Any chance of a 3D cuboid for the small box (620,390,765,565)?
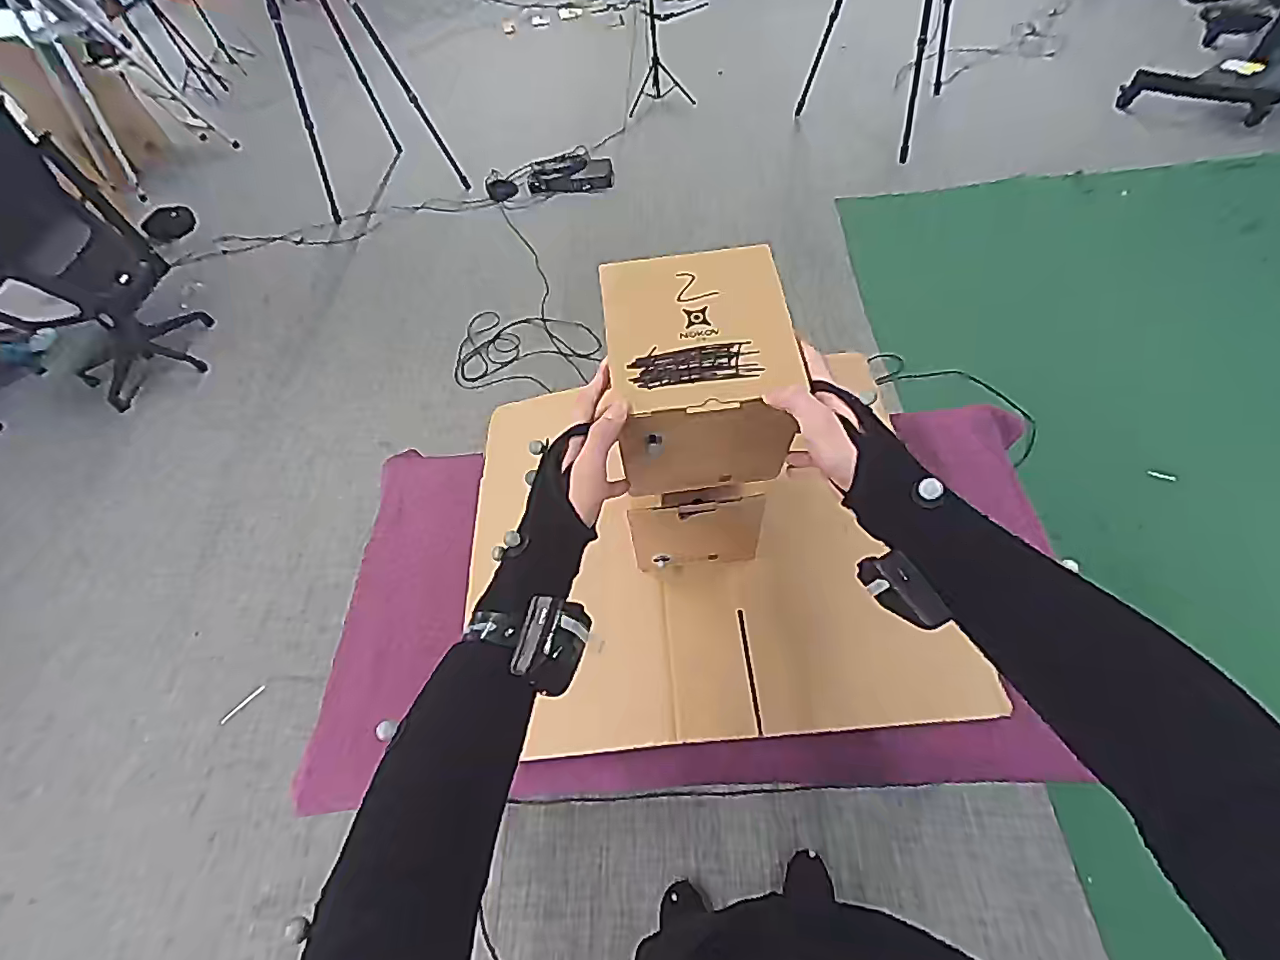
[{"bbox_3d":[0.067,0.005,0.731,0.168,0.176,0.179,-6,55,2],"label":"small box"}]
